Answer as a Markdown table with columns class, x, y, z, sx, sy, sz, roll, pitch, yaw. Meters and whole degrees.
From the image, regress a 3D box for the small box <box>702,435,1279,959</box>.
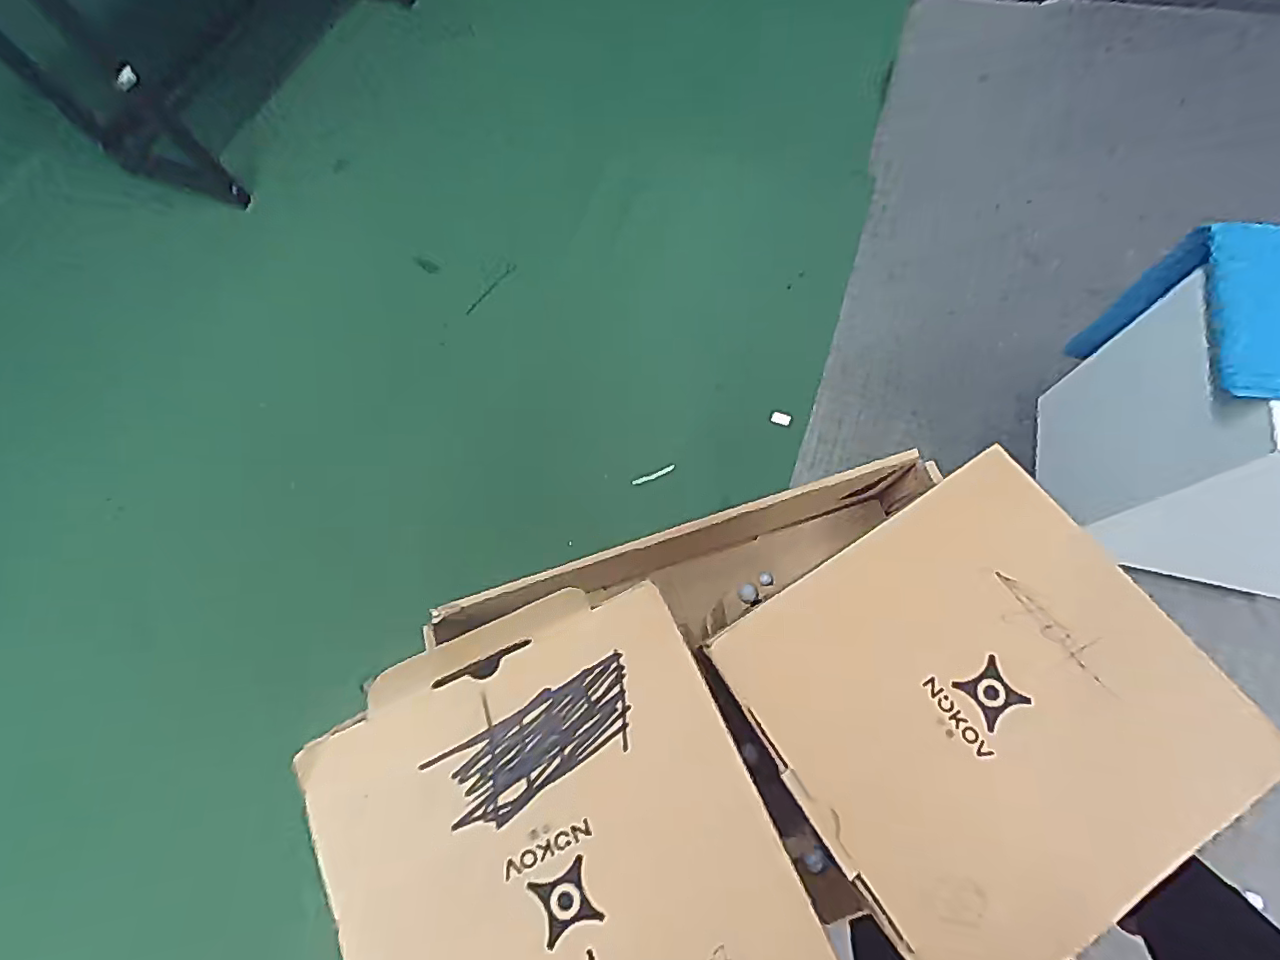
| class | x | y | z | sx | sy | sz | roll | pitch | yaw |
| --- | --- | --- | --- | --- | --- | --- | --- | --- | --- |
| small box | 0.151 | 0.111 | 0.302 | 0.179 | 0.176 | 0.168 | -32 | 72 | -6 |
